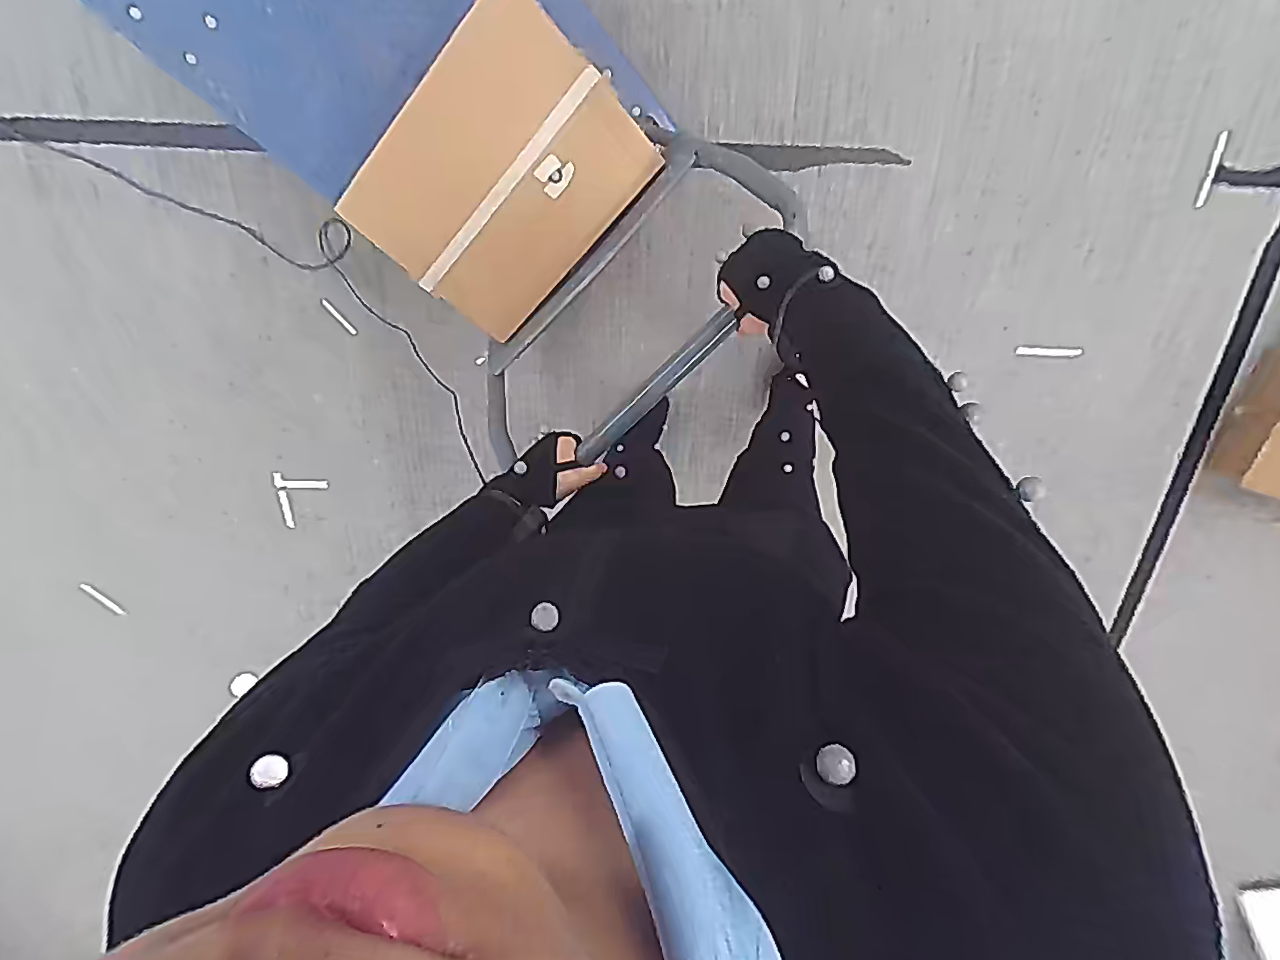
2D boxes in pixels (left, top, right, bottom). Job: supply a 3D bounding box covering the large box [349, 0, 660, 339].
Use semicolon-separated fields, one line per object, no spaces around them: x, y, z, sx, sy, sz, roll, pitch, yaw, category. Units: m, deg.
-0.233;-0.538;0.958;0.320;0.320;0.408;36;110;-31;large box
